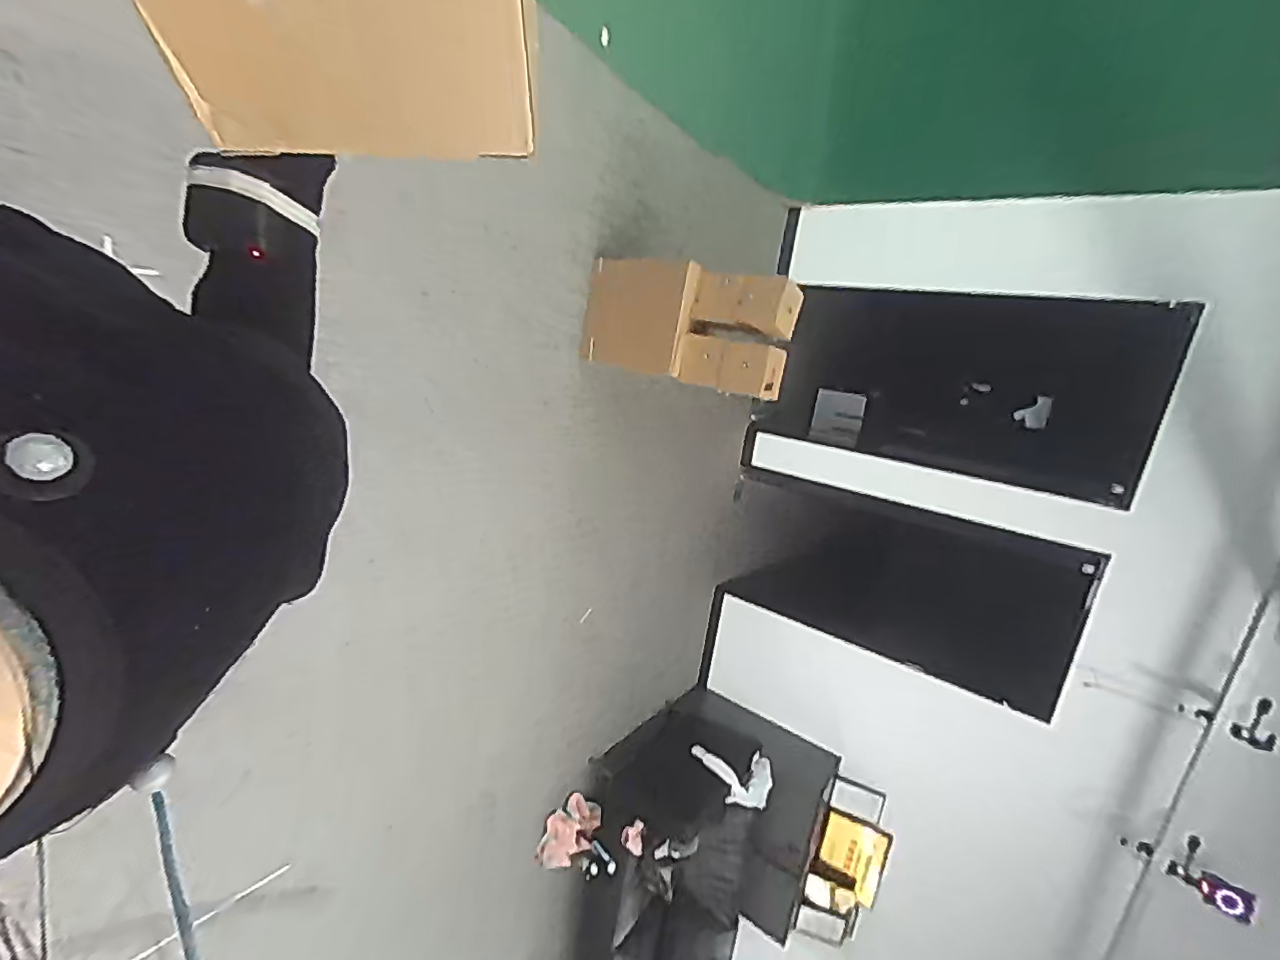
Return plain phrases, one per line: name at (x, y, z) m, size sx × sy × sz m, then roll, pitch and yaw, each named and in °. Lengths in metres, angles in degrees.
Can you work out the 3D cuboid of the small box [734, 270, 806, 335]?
small box at (0.454, -0.623, 1.887) m, size 0.179 × 0.176 × 0.168 m, roll 10°, pitch 97°, yaw -56°
